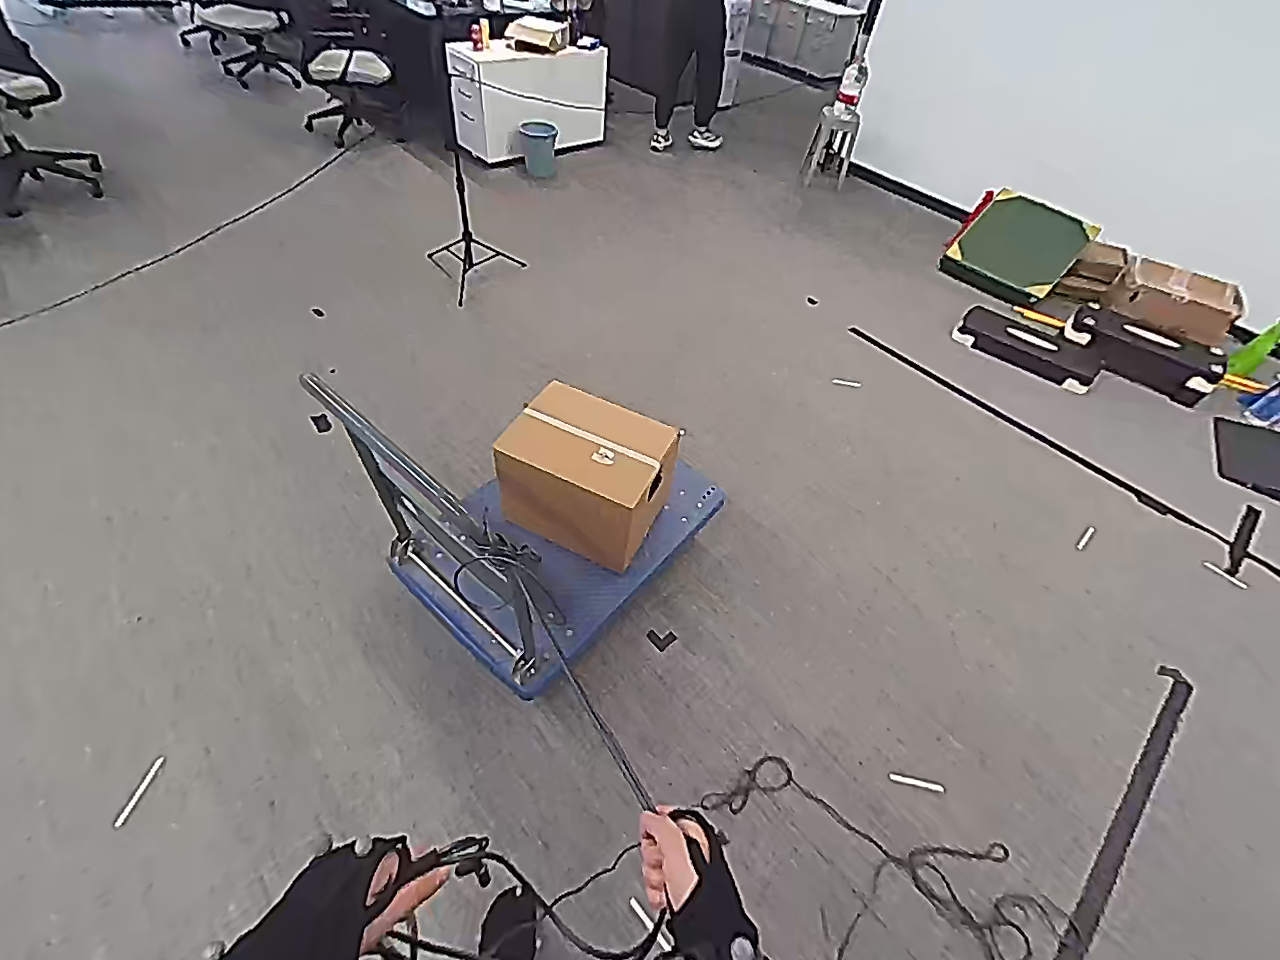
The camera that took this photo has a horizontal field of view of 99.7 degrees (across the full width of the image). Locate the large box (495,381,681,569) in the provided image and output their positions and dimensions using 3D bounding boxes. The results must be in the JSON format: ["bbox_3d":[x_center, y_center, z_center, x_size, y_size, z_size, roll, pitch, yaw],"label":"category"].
[{"bbox_3d":[-0.147,-0.014,1.528,0.408,0.320,0.320,24,52,11],"label":"large box"}]
